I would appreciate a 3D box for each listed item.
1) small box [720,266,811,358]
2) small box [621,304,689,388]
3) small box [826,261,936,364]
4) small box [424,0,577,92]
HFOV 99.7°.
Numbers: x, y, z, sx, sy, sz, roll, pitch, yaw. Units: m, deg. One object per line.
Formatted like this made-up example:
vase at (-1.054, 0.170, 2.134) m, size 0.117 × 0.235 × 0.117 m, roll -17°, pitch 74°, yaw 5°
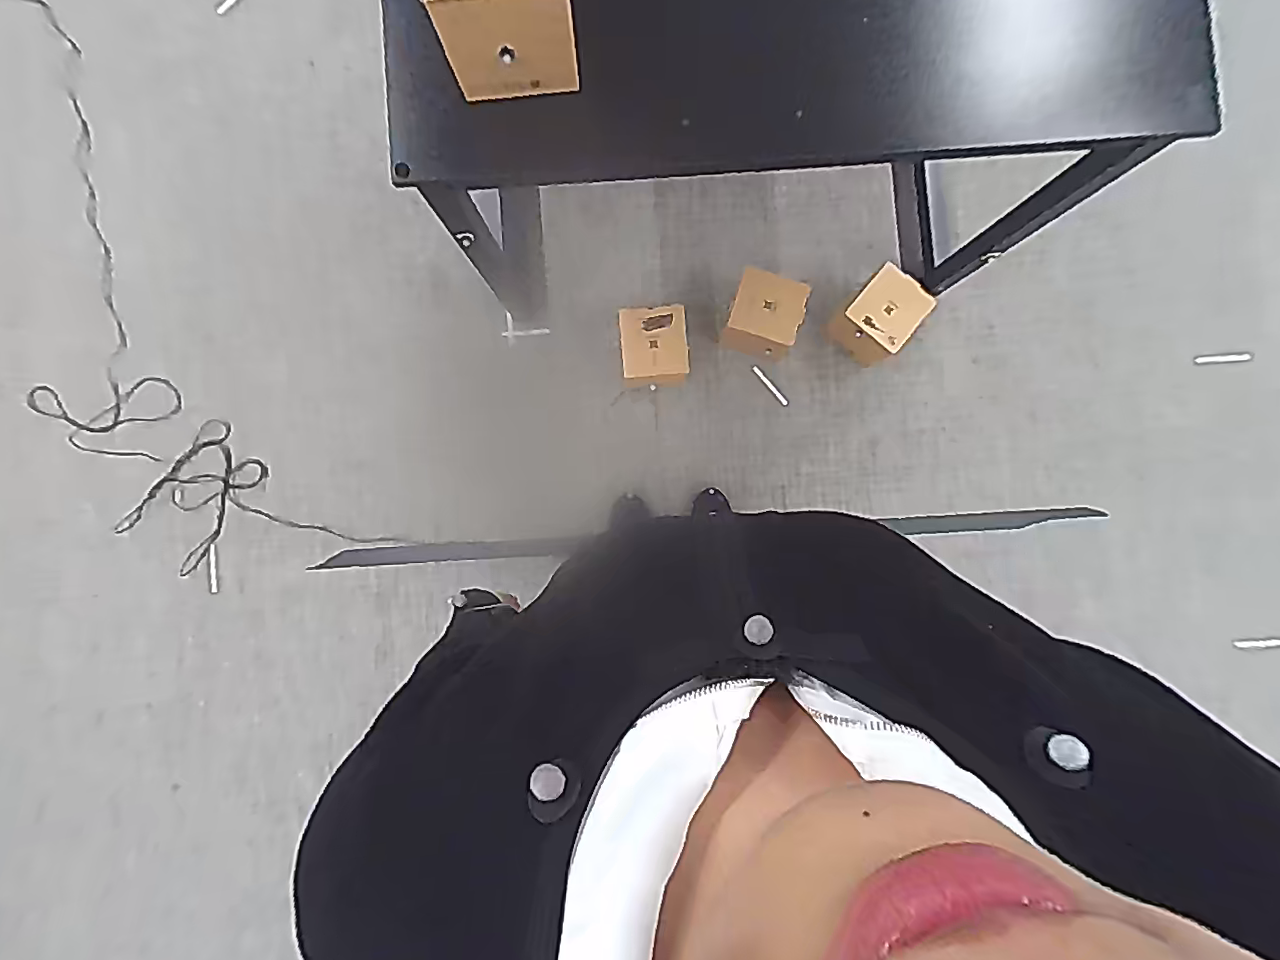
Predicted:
small box at (0.325, -0.437, 1.436) m, size 0.179 × 0.176 × 0.168 m, roll 17°, pitch 89°, yaw 1°
small box at (0.036, -0.351, 1.434) m, size 0.168 × 0.176 × 0.179 m, roll -5°, pitch 91°, yaw 0°
small box at (0.628, -0.435, 1.433) m, size 0.168 × 0.176 × 0.179 m, roll 40°, pitch 90°, yaw 1°
small box at (-0.178, -0.644, 0.706) m, size 0.168 × 0.176 × 0.179 m, roll -6°, pitch 89°, yaw -1°
